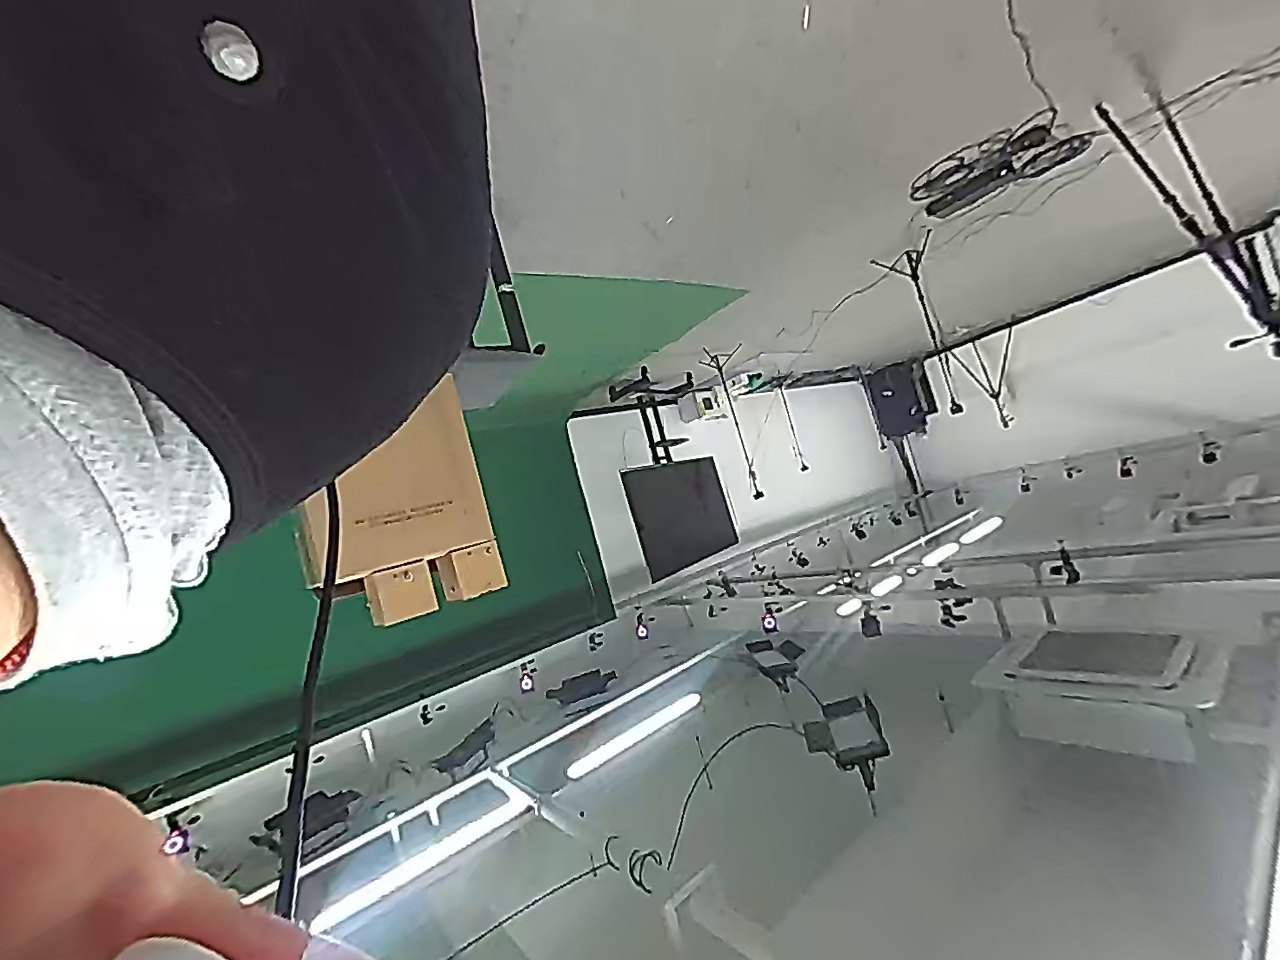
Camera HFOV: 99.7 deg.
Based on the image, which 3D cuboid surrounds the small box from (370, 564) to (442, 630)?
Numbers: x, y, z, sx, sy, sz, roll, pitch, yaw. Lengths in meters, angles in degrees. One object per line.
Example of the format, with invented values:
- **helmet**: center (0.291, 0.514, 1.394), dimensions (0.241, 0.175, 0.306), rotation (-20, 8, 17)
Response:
- **small box**: center (-0.767, 0.380, 1.764), dimensions (0.168, 0.176, 0.179), rotation (-14, 175, -37)

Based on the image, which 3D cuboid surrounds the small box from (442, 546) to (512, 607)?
- **small box**: center (-0.579, 0.336, 1.906), dimensions (0.168, 0.176, 0.179), rotation (-14, 177, -39)
